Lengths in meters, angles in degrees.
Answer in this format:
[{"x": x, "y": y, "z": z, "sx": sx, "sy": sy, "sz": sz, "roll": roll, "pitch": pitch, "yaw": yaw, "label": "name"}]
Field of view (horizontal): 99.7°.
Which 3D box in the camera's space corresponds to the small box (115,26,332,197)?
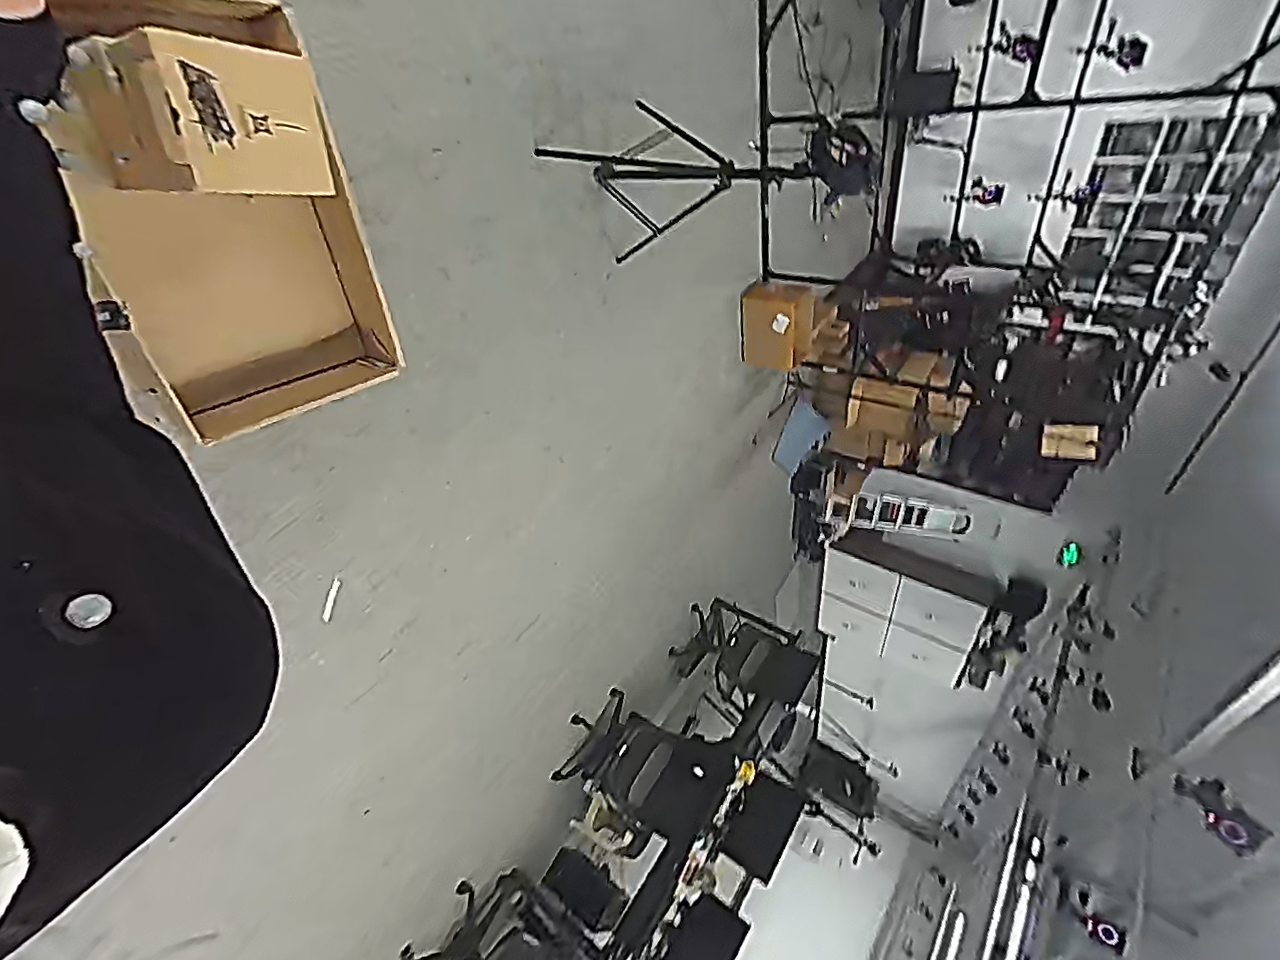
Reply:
[{"x": -0.564, "y": -0.481, "z": 0.735, "sx": 0.179, "sy": 0.176, "sz": 0.168, "roll": -31, "pitch": 131, "yaw": -46, "label": "small box"}]
